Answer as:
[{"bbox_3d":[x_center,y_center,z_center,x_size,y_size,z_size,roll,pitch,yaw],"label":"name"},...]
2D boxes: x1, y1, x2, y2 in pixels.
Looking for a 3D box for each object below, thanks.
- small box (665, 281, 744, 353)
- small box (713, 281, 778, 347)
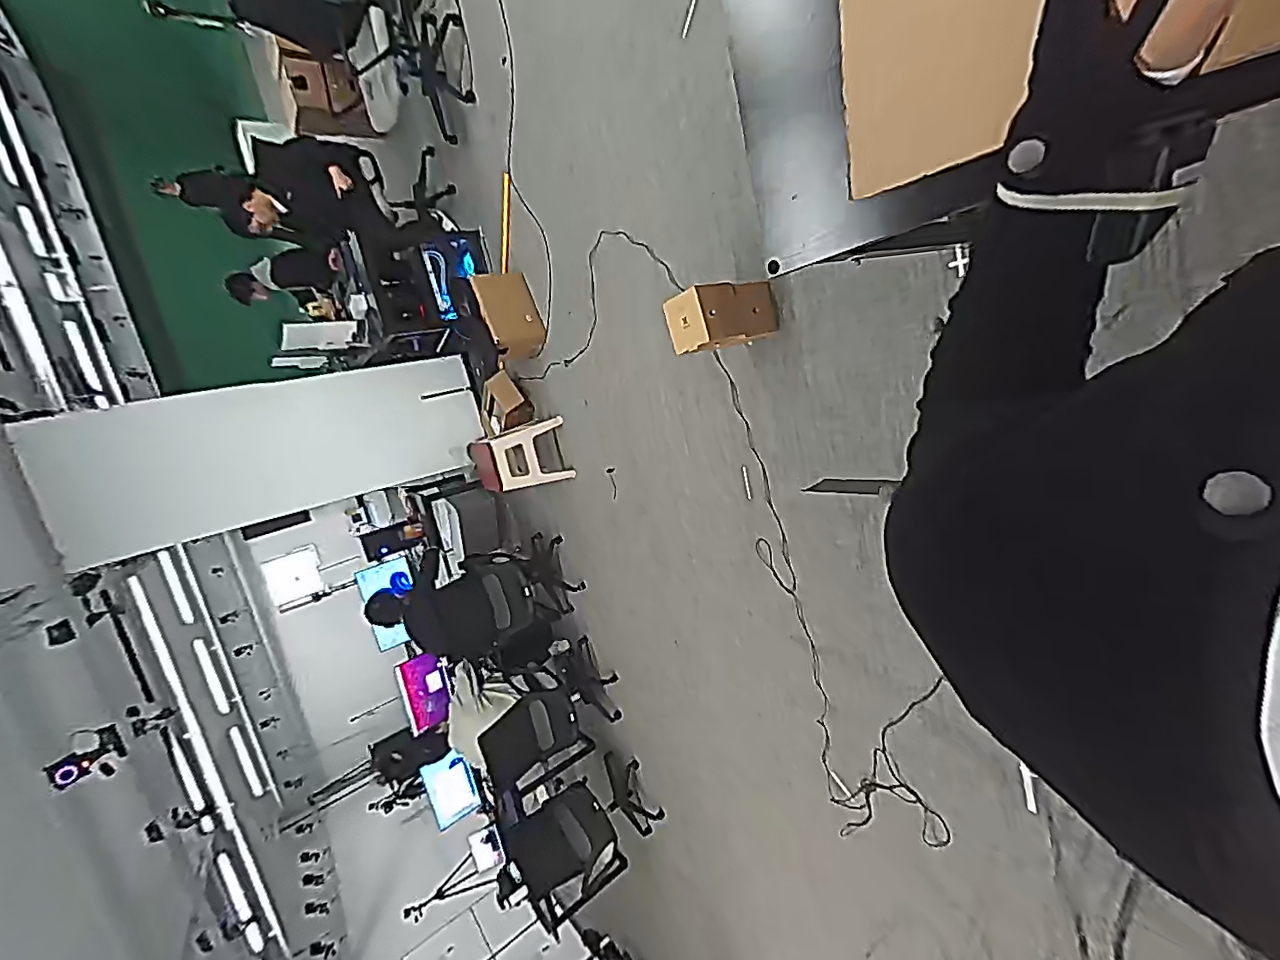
[{"bbox_3d":[0.212,-0.527,1.749,0.168,0.176,0.179,-9,98,56],"label":"small box"},{"bbox_3d":[0.342,-0.566,1.839,0.168,0.176,0.179,-4,103,56],"label":"small box"}]
